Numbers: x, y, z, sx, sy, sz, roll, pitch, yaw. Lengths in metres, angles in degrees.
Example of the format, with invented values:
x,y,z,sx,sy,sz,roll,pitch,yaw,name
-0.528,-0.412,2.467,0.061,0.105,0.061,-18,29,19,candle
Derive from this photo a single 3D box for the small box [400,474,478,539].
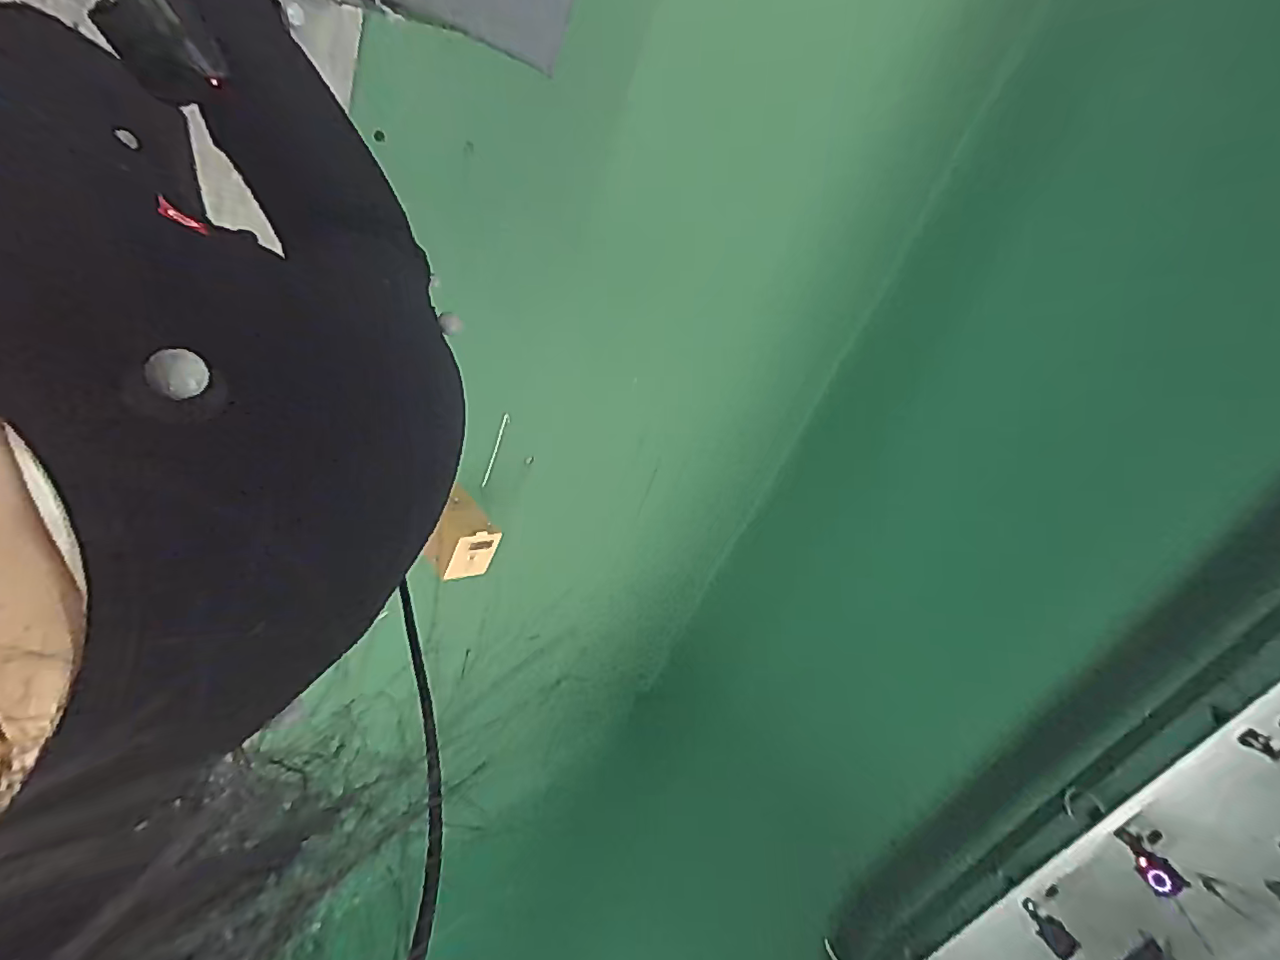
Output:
x,y,z,sx,sy,sz,roll,pitch,yaw,name
-0.711,0.090,1.902,0.179,0.176,0.168,3,122,-53,small box
